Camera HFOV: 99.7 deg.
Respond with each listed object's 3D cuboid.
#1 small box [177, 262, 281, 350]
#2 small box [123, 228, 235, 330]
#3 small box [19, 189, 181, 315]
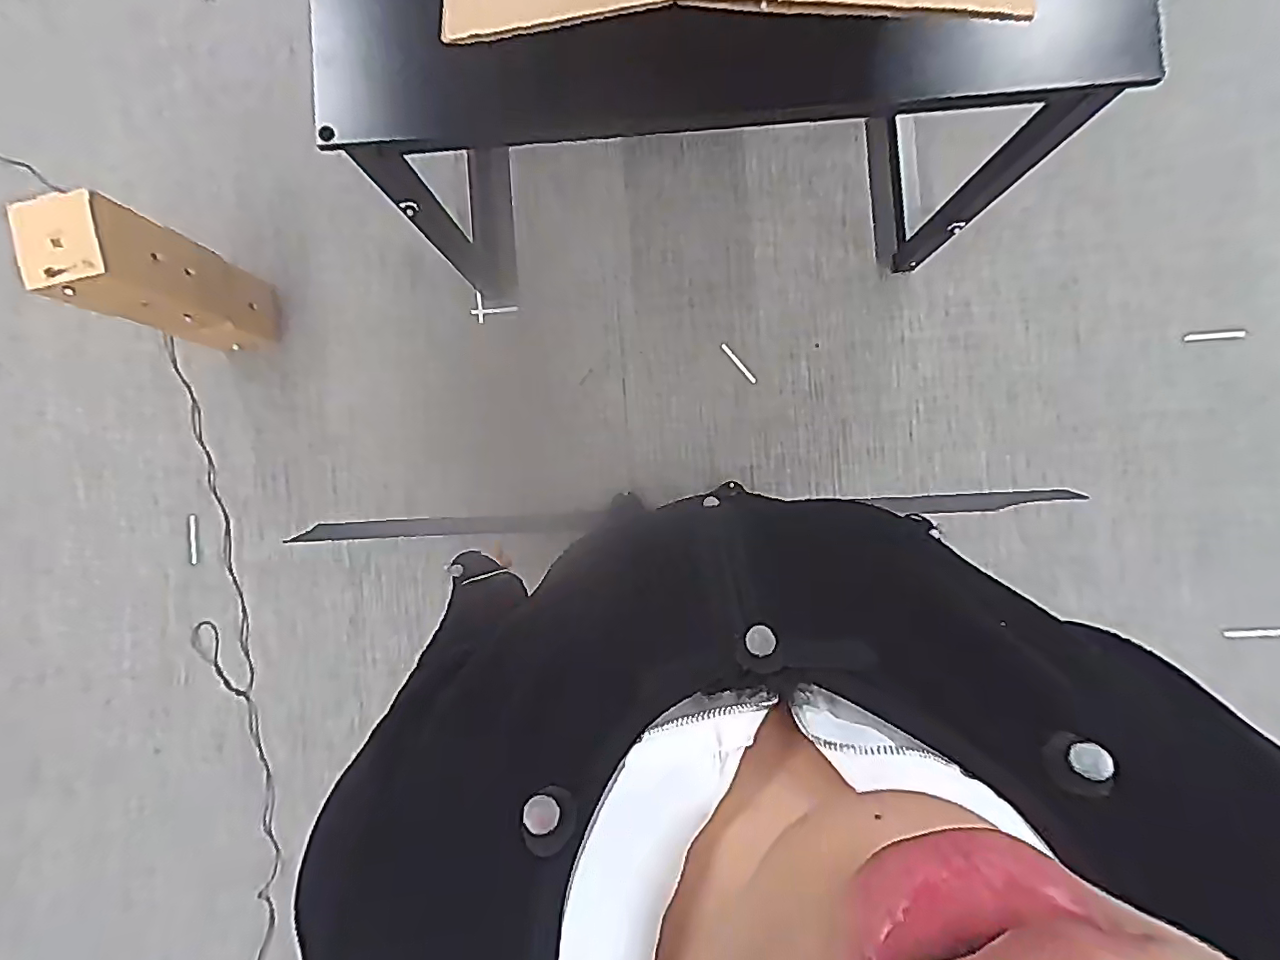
[{"bbox_3d":[-1.117,-0.467,1.470,0.168,0.176,0.179,-7,90,2],"label":"small box"},{"bbox_3d":[-1.125,-0.475,1.309,0.168,0.176,0.179,-10,88,1],"label":"small box"},{"bbox_3d":[-1.130,-0.473,1.144,0.168,0.176,0.179,-12,88,2],"label":"small box"}]
